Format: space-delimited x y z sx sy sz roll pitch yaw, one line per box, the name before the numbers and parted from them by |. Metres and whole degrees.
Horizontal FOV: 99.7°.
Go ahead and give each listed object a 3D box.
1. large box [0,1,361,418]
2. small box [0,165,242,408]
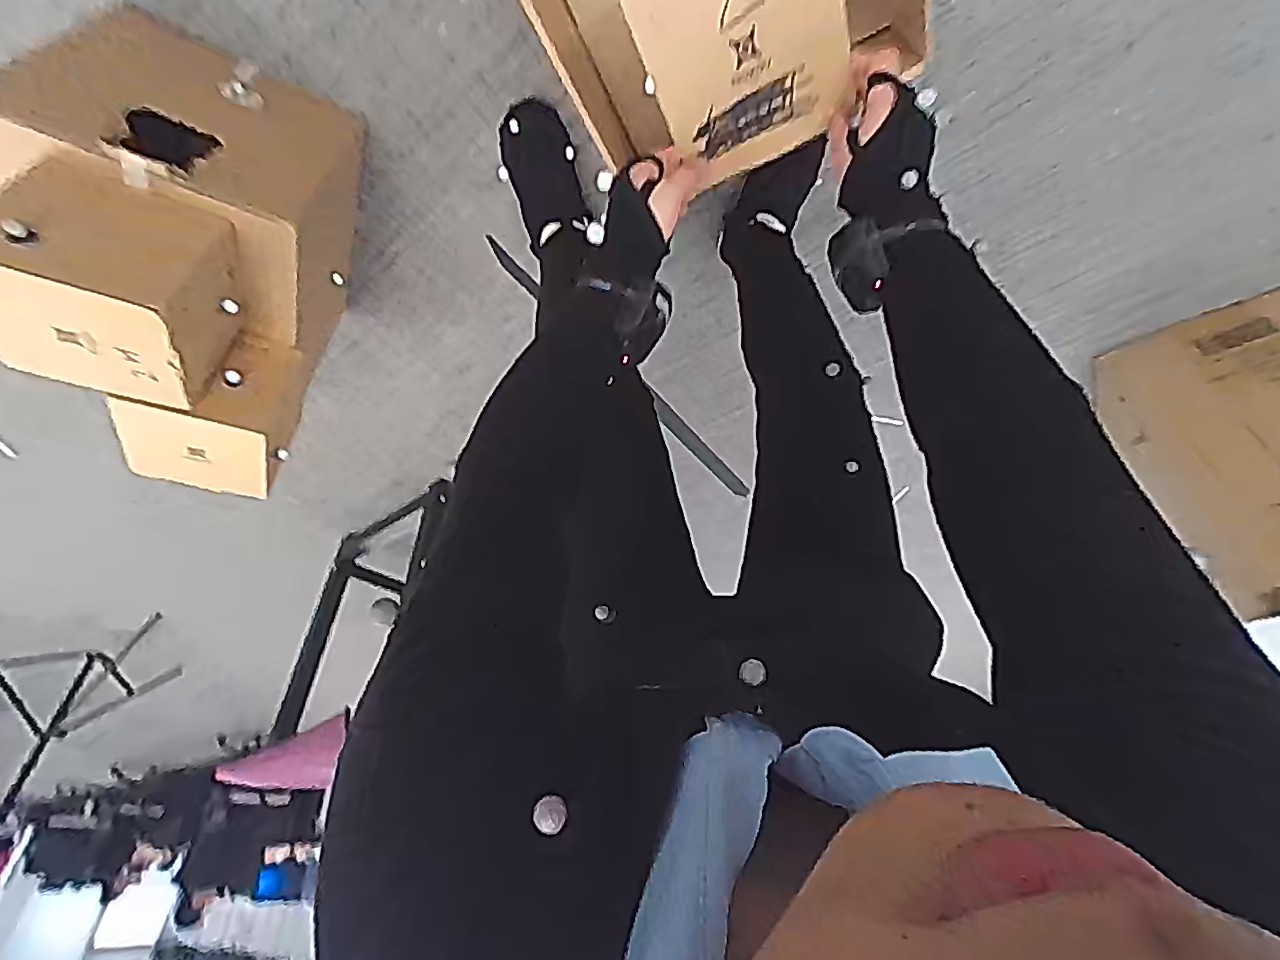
large box | -0.635 -0.368 0.814 0.320 0.320 0.408 17 142 -21
small box | -0.588 -0.215 0.607 0.179 0.176 0.168 15 143 -22
